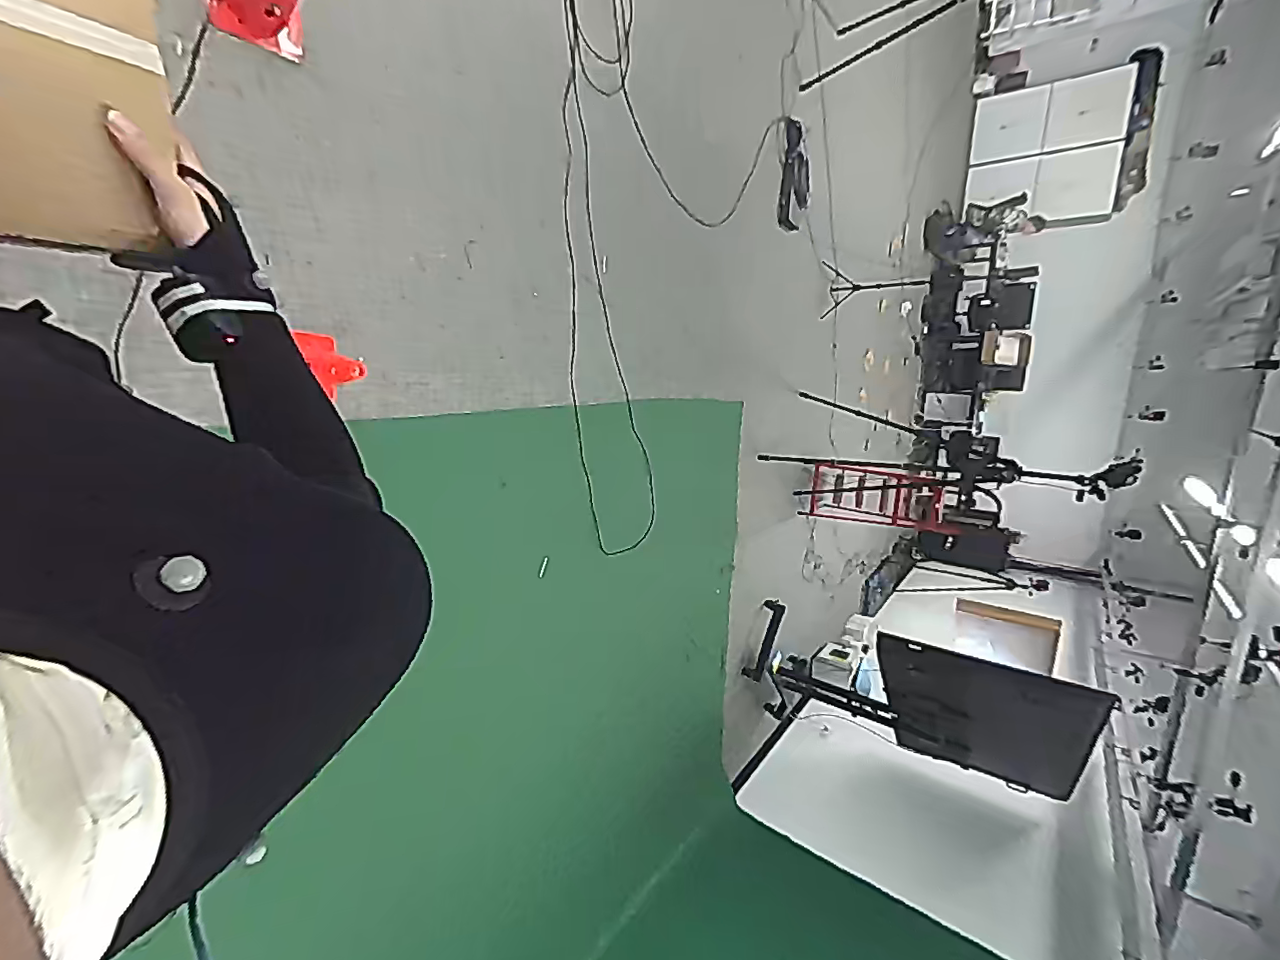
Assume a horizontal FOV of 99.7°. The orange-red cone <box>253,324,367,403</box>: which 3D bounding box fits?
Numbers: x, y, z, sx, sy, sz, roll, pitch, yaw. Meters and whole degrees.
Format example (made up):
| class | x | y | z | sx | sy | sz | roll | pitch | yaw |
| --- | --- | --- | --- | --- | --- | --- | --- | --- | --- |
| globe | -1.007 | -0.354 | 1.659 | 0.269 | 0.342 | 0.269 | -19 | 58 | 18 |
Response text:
| class | x | y | z | sx | sy | sz | roll | pitch | yaw |
| --- | --- | --- | --- | --- | --- | --- | --- | --- | --- |
| orange-red cone | -0.805 | -0.288 | 1.384 | 0.199 | 0.360 | 0.198 | -3 | 102 | -54 |
